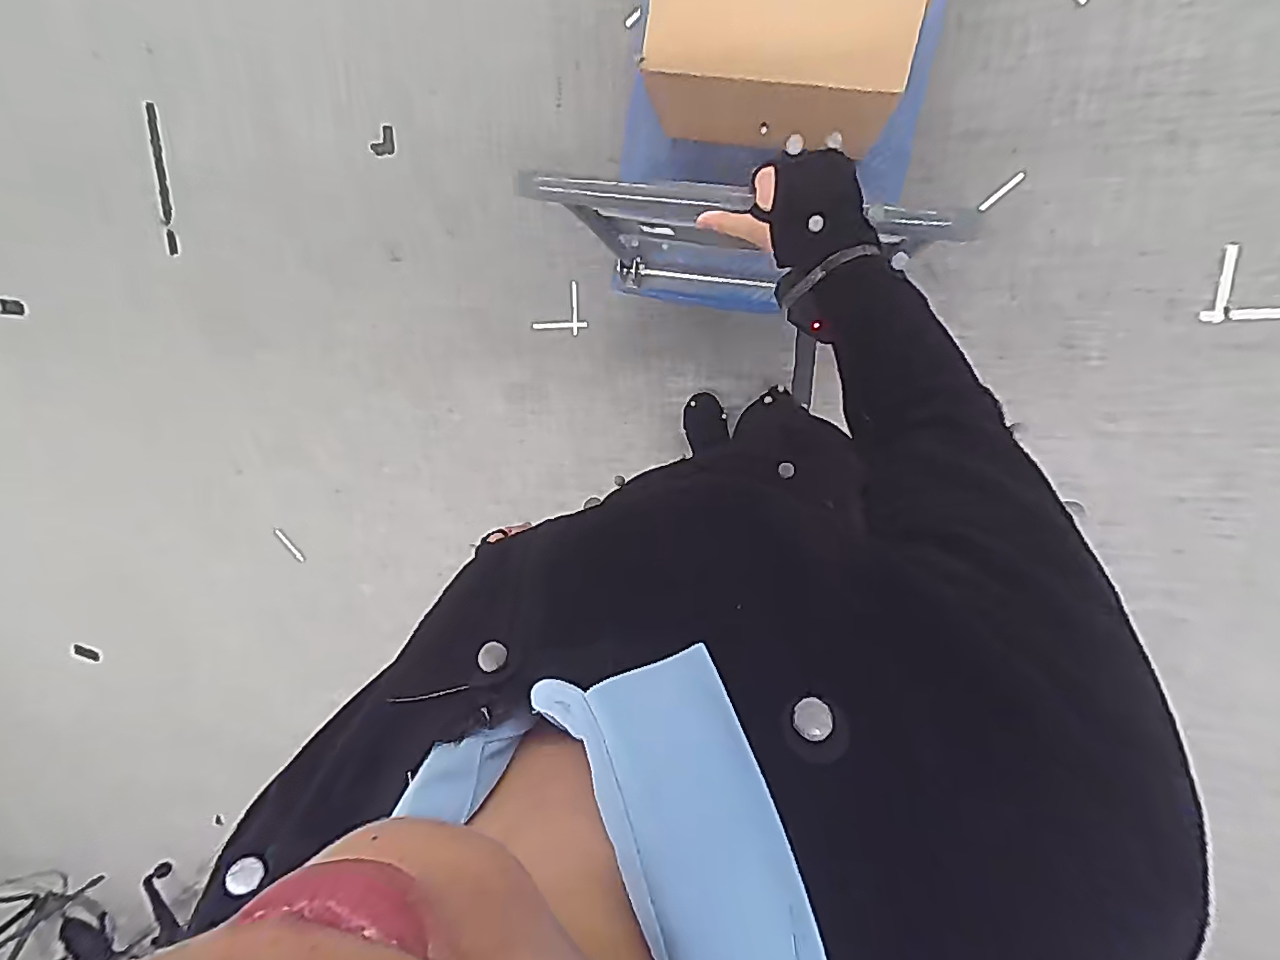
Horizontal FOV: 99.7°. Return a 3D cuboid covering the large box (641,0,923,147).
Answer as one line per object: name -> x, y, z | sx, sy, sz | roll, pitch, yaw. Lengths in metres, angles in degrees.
large box -> 0.244, -0.795, 0.916 | 0.408, 0.320, 0.320 | 11, 105, 10
